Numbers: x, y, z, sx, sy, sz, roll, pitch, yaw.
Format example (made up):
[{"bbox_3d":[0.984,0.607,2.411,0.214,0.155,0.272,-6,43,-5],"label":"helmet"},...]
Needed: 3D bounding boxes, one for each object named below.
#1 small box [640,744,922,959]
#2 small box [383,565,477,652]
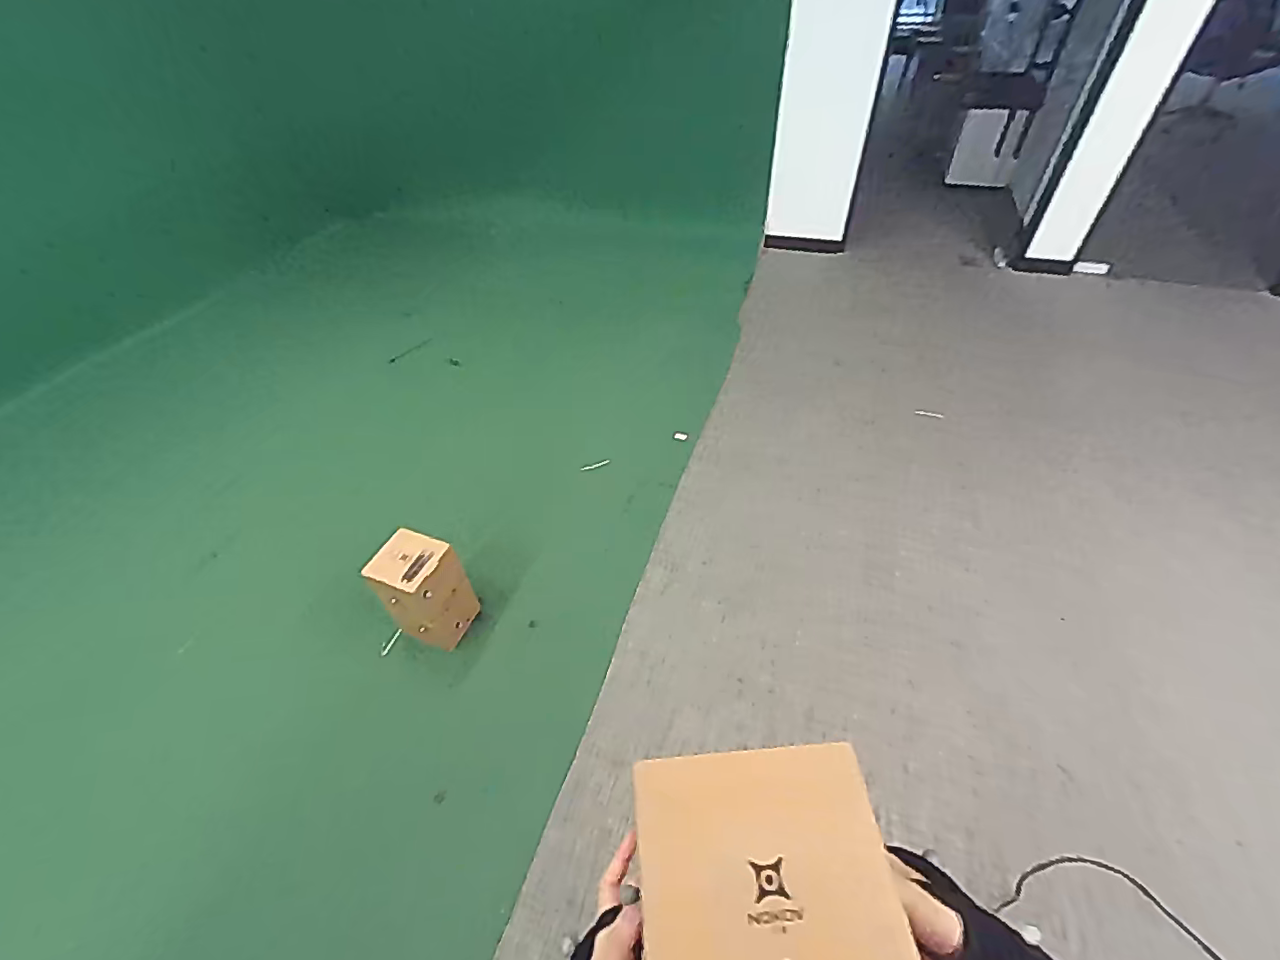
[{"bbox_3d":[0.087,0.321,0.411,0.168,0.176,0.179,-3,49,-3],"label":"small box"},{"bbox_3d":[-0.620,0.387,1.617,0.179,0.176,0.168,15,49,16],"label":"small box"}]
